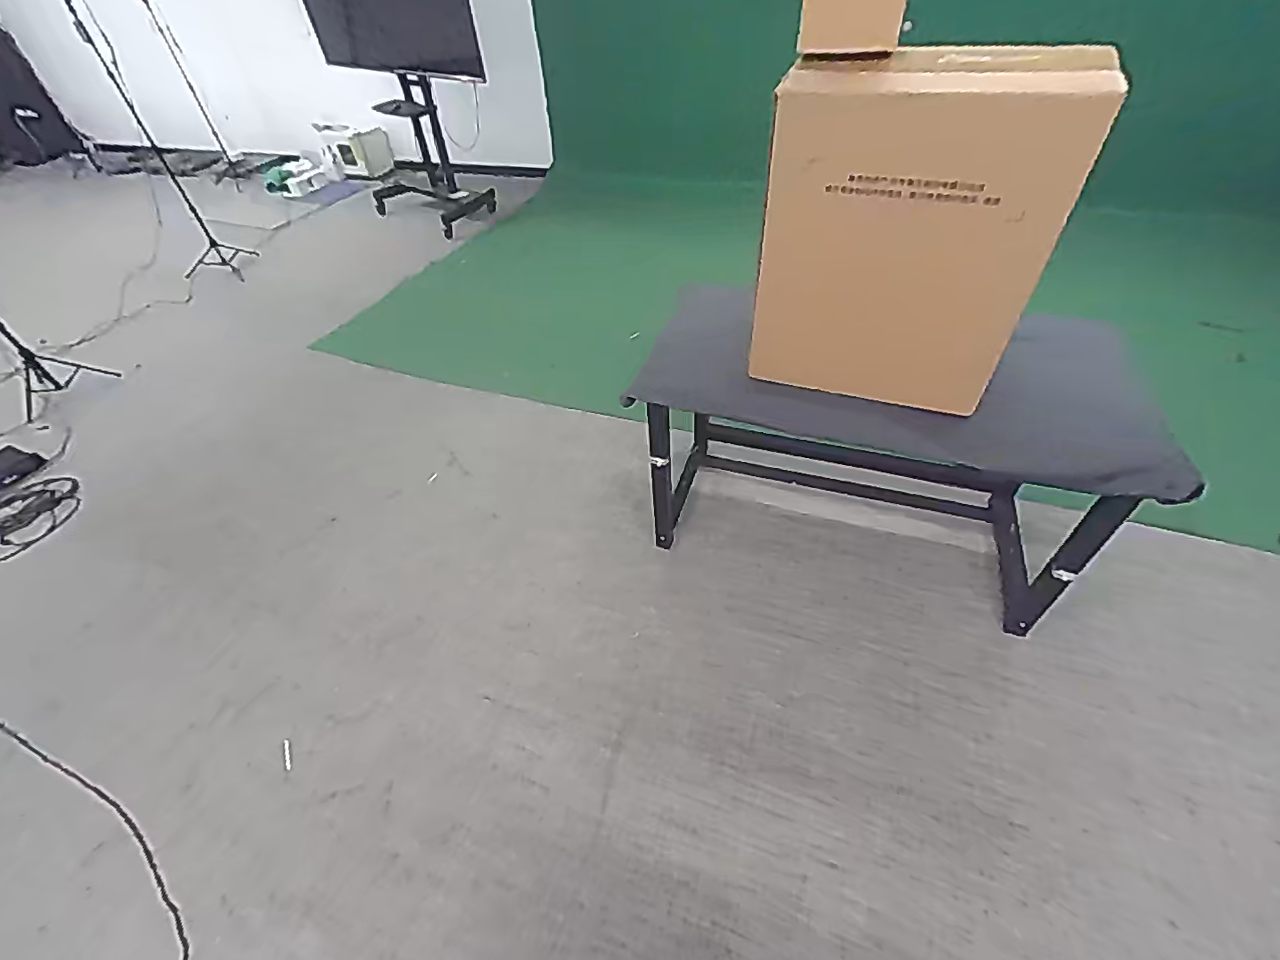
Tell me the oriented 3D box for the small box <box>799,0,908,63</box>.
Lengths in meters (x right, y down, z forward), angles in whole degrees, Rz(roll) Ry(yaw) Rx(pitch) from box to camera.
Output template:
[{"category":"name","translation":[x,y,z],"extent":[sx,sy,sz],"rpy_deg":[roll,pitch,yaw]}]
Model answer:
[{"category":"small box","translation":[0.407,-0.893,1.014],"extent":[0.179,0.176,0.168],"rpy_deg":[14,41,15]}]
